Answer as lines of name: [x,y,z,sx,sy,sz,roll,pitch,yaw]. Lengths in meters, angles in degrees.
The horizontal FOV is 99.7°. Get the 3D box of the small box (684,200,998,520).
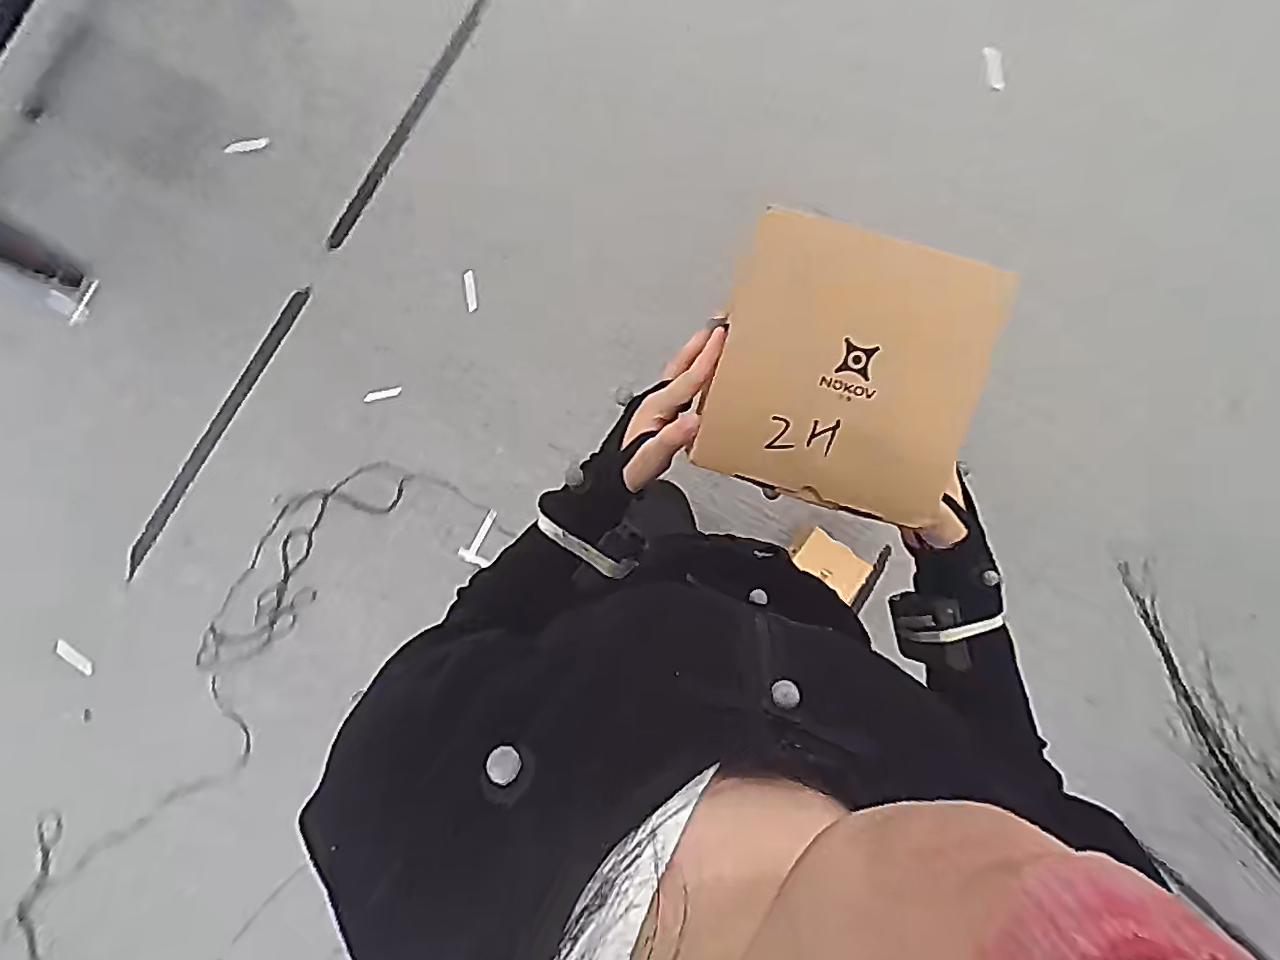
small box: [0.134,-0.084,0.435,0.168,0.176,0.179,16,96,2]

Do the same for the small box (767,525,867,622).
small box: [0.444,0.233,1.393,0.168,0.176,0.179,37,89,6]
